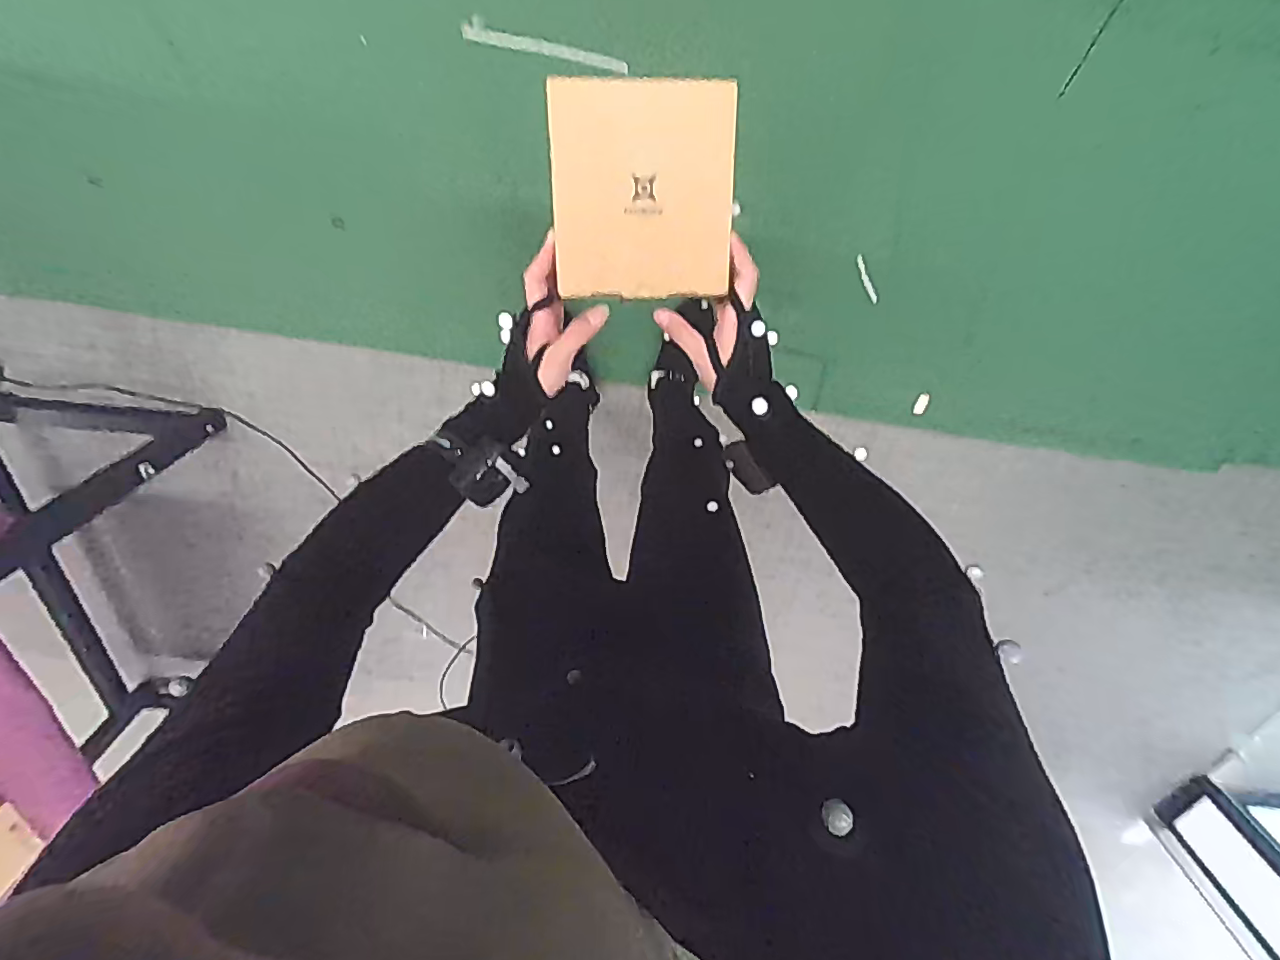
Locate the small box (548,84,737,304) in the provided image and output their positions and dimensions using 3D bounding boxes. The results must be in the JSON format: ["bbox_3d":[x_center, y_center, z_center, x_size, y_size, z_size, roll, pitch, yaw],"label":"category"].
[{"bbox_3d":[-0.004,-0.276,0.557,0.168,0.176,0.179,-3,110,-4],"label":"small box"}]
